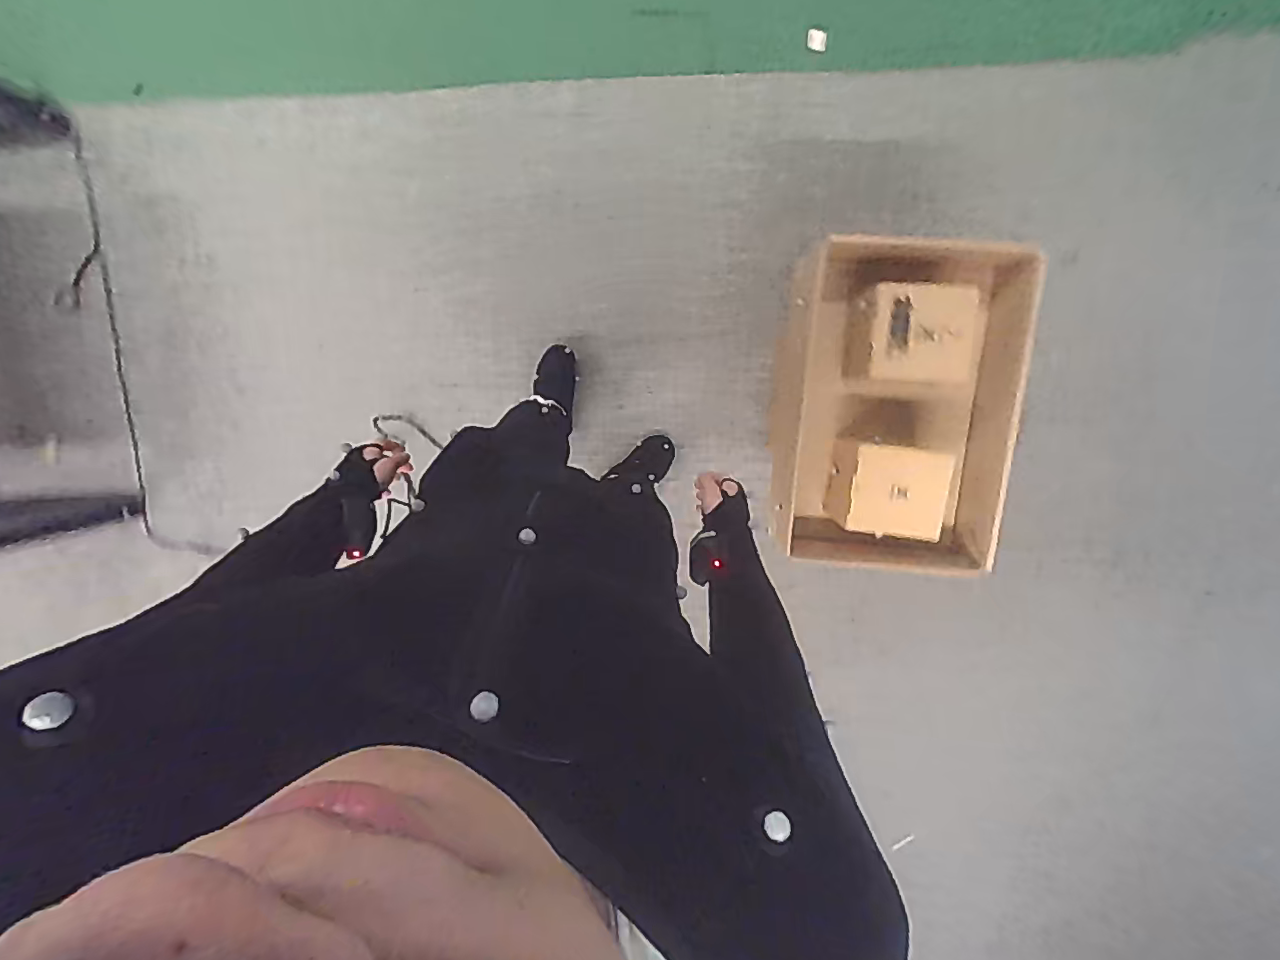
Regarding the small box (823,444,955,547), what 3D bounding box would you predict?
[{"bbox_3d":[0.486,0.023,1.081,0.179,0.176,0.168,7,100,3],"label":"small box"}]
